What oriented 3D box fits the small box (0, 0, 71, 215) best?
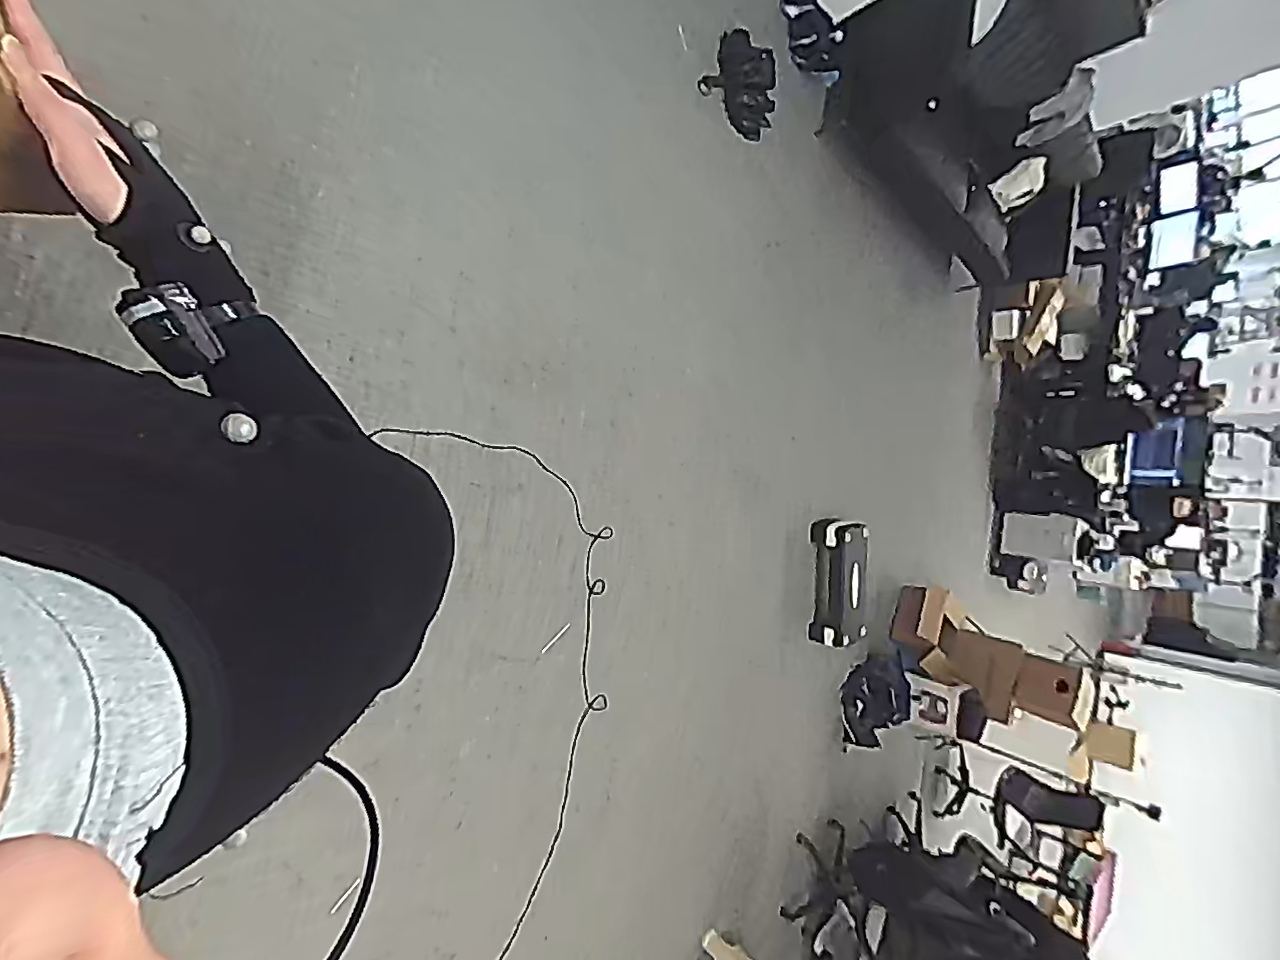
[{"bbox_3d":[-0.474,-0.279,0.307,0.168,0.176,0.179,-15,89,-37],"label":"small box"}]
